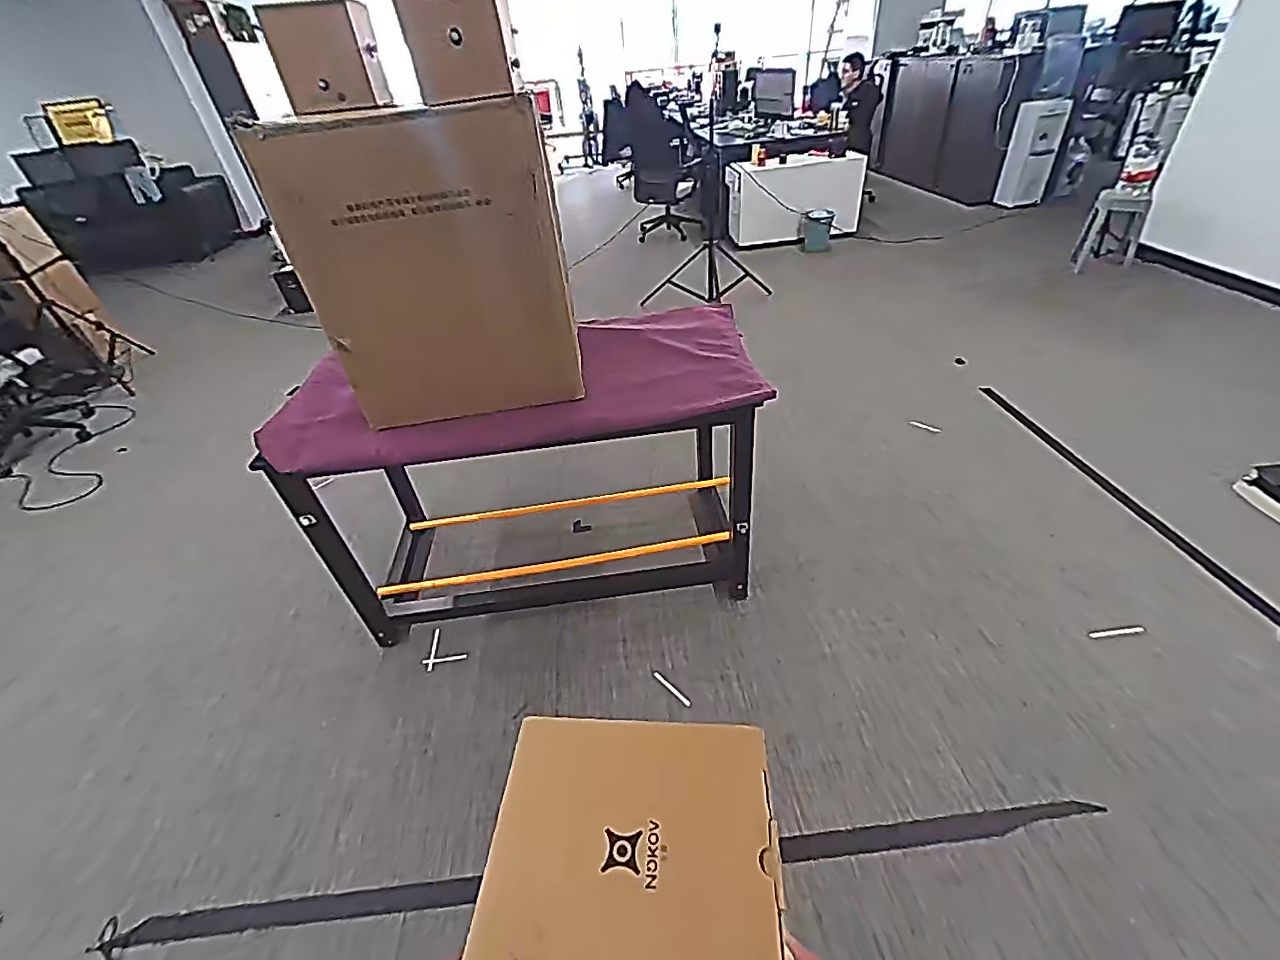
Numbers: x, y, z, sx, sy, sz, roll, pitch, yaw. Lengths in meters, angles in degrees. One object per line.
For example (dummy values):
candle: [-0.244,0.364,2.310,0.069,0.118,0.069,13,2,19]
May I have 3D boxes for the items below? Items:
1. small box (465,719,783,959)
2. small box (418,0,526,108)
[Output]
small box: [0.001,0.293,0.381,0.179,0.176,0.168,0,38,6]
small box: [-0.344,-0.899,1.145,0.168,0.176,0.179,-9,38,-1]
